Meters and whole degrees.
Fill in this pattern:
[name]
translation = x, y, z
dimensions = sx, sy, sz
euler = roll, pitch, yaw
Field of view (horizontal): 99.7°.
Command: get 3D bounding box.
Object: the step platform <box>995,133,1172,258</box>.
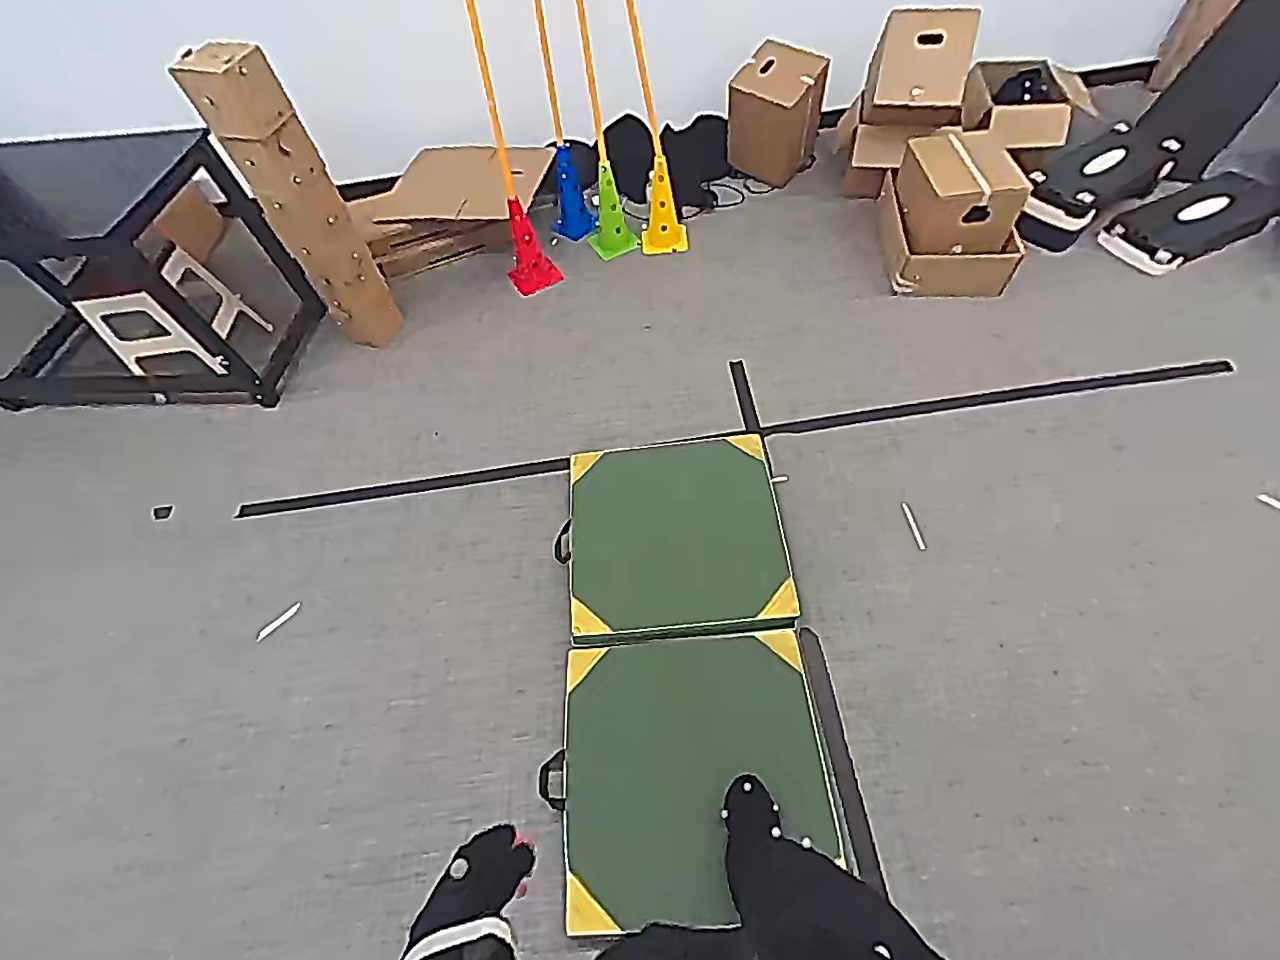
[step platform]
translation = 1.836, -1.188, 2.239
dimensions = 0.684, 0.204, 0.286
euler = -32, 60, -14
